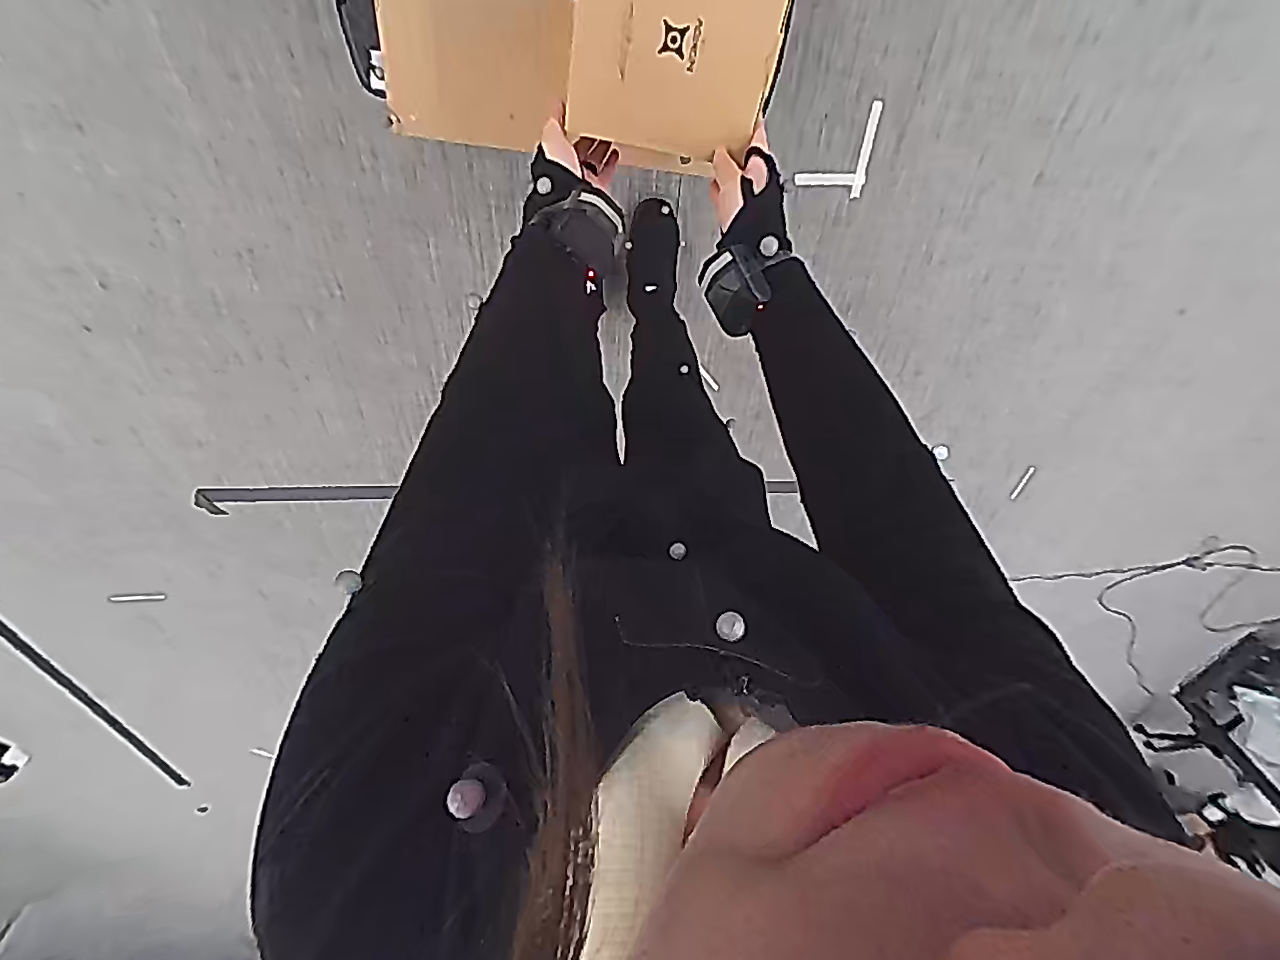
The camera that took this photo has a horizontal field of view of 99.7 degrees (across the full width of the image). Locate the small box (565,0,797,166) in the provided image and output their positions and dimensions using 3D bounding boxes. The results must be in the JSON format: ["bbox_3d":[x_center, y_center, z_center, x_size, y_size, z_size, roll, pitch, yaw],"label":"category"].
[{"bbox_3d":[0.027,-0.418,0.505,0.179,0.176,0.168,5,129,-12],"label":"small box"}]

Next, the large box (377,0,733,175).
[{"bbox_3d":[-0.077,-0.597,0.662,0.408,0.320,0.320,2,128,-9],"label":"large box"}]
